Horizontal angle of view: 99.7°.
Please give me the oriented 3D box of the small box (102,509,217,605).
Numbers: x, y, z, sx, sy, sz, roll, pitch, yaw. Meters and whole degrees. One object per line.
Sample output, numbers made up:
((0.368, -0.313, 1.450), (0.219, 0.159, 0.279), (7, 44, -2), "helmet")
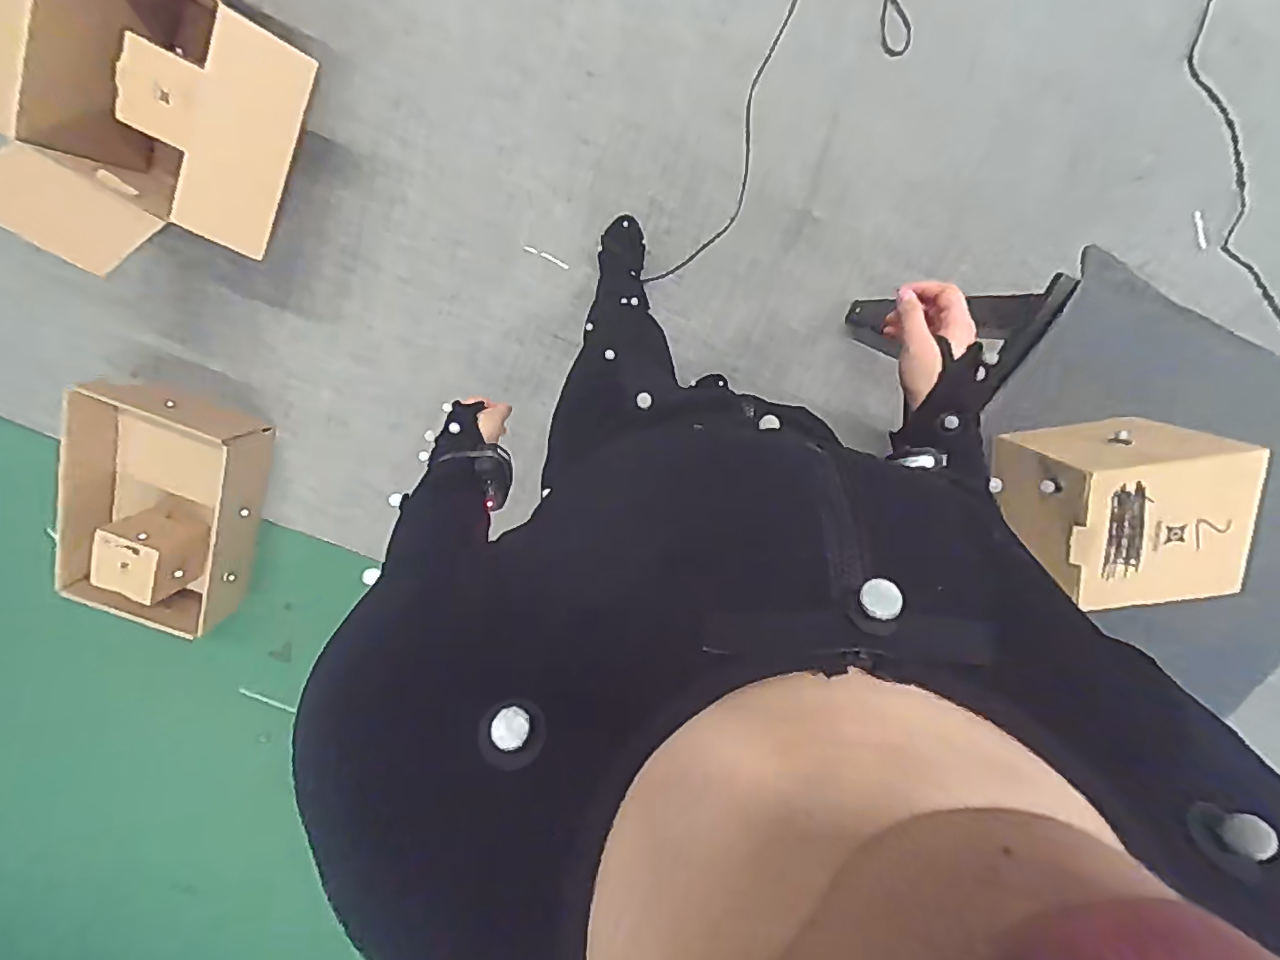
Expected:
((-1.316, 0.207, 1.491), (0.168, 0.176, 0.179), (22, 107, -3), "small box")
